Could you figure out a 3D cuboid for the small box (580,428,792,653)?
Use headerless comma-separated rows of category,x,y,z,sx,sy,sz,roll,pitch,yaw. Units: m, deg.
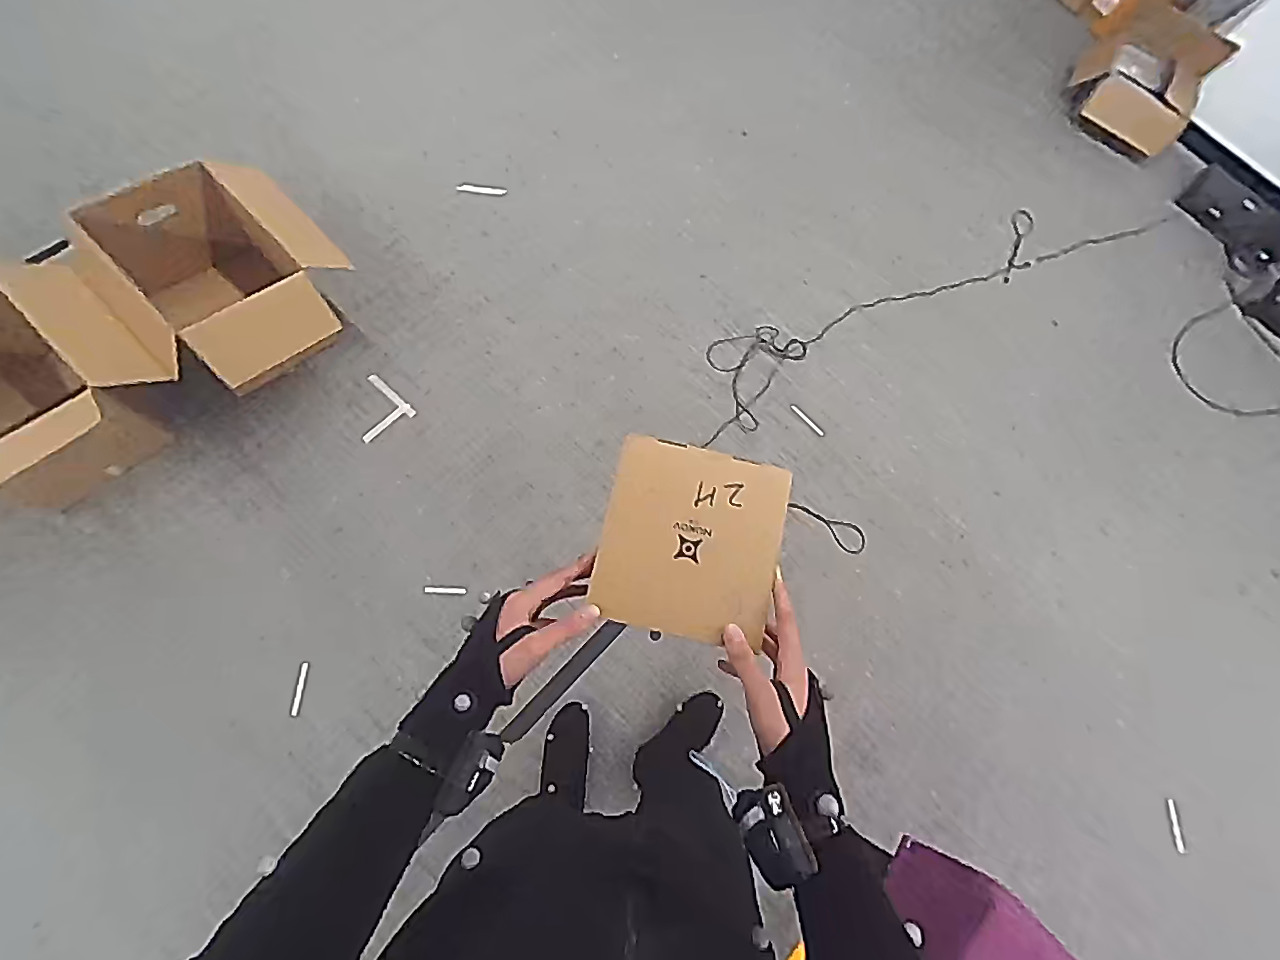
small box,0.042,0.065,0.568,0.168,0.176,0.179,13,80,0
